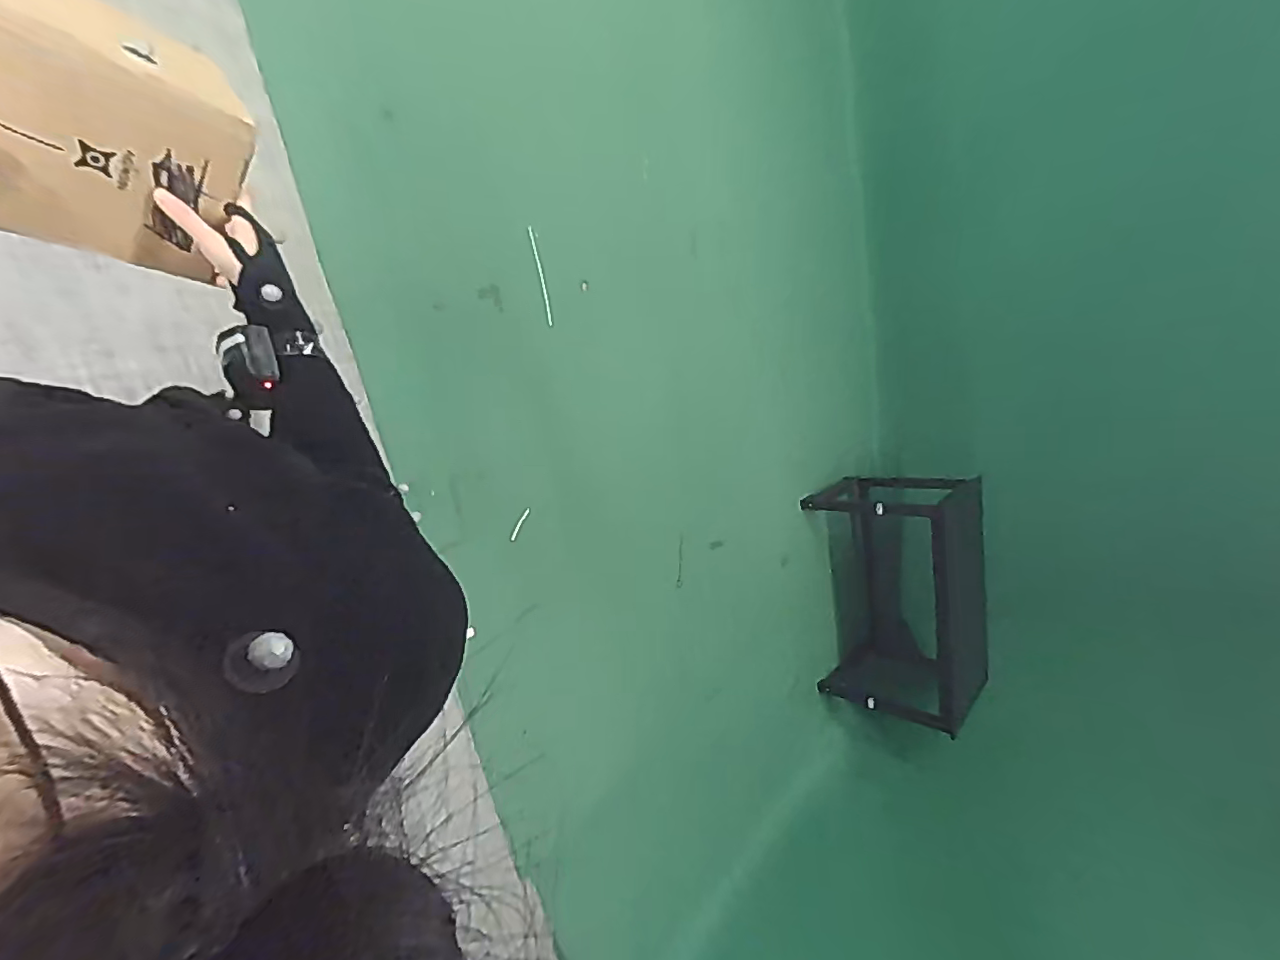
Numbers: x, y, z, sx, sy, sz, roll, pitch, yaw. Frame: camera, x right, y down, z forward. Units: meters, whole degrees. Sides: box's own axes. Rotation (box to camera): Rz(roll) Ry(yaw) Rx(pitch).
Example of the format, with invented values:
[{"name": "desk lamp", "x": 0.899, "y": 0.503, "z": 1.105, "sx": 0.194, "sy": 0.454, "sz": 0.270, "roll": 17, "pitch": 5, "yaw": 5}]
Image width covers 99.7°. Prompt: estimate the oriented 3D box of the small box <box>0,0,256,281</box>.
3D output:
[{"name": "small box", "x": -0.483, "y": -0.314, "z": 0.473, "sx": 0.168, "sy": 0.176, "sz": 0.179, "roll": -52, "pitch": 153, "yaw": 22}]
